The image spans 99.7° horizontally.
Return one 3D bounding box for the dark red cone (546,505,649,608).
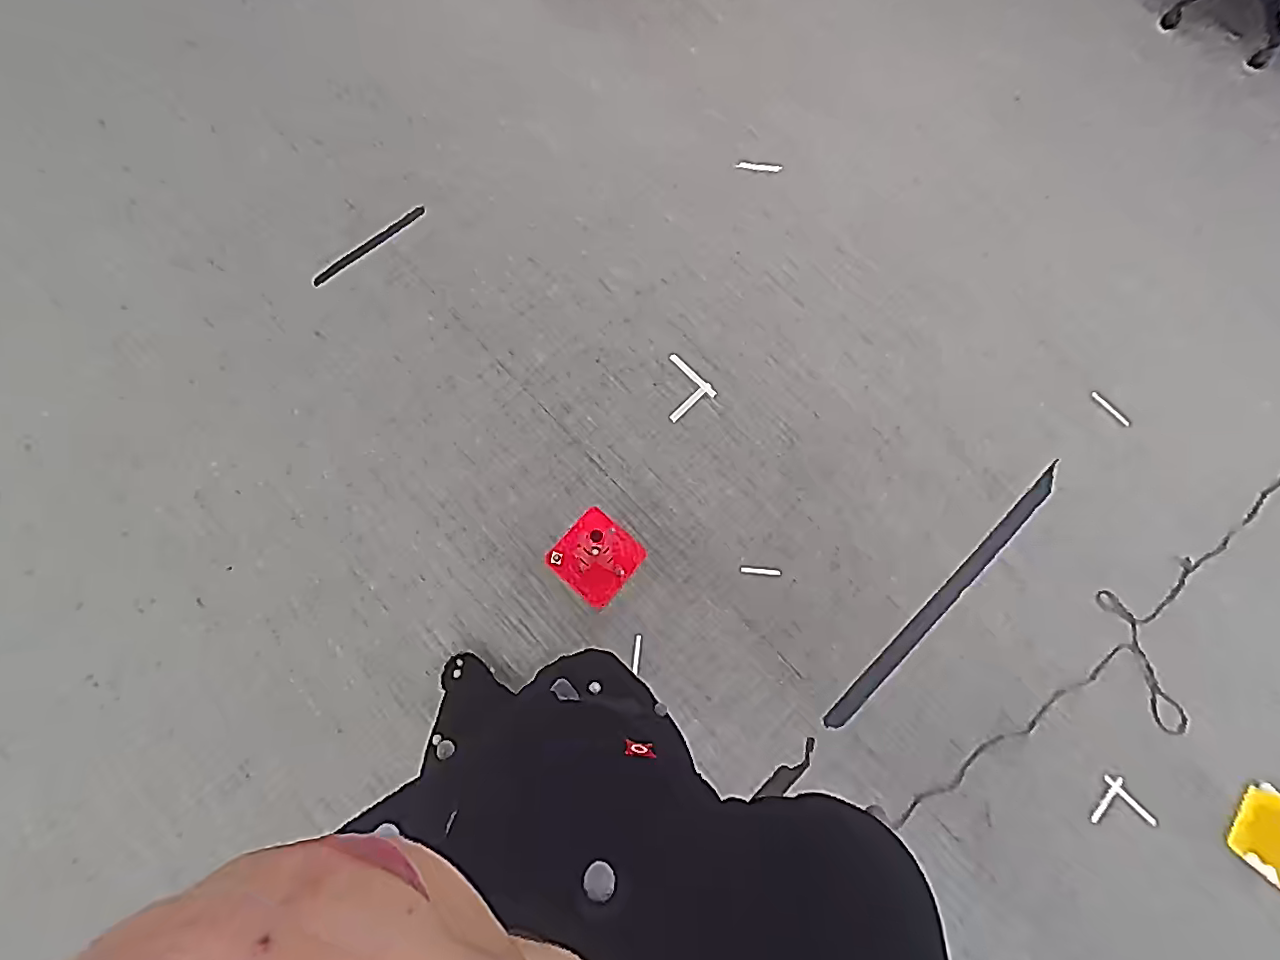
[{"bbox_3d":[-0.090,0.149,1.196,0.201,0.394,0.202,39,76,5],"label":"dark red cone"}]
